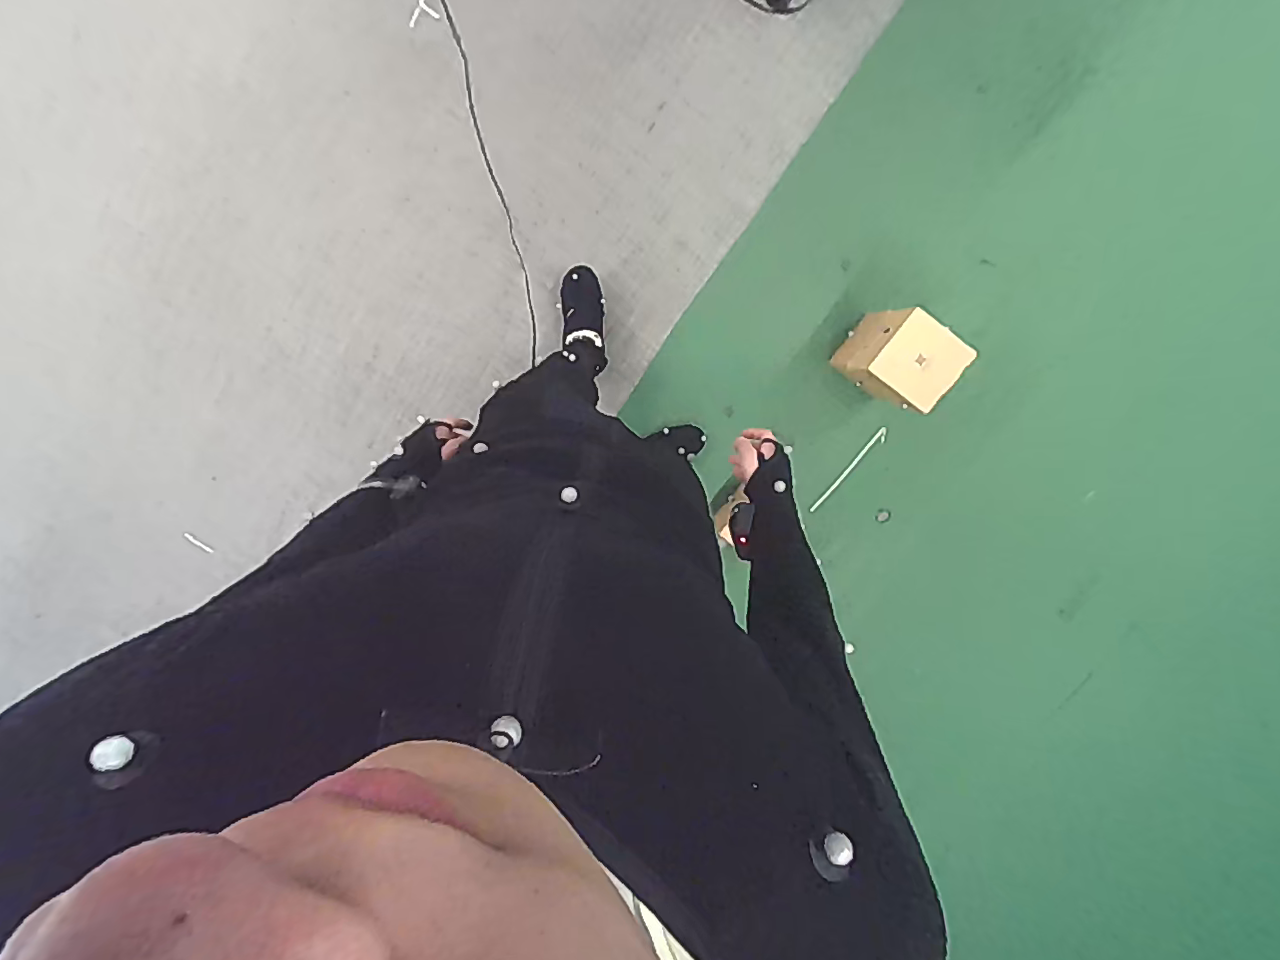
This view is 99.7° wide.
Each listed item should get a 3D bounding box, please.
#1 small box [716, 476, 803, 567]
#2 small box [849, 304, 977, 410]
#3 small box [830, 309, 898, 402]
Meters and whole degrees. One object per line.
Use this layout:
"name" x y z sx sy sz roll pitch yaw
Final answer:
"small box" 0.336 0.111 1.556 0.179 0.176 0.168 37 104 -6
"small box" 0.624 -0.286 1.265 0.179 0.176 0.168 35 103 -6
"small box" 0.636 -0.329 1.420 0.179 0.176 0.168 35 104 -5
